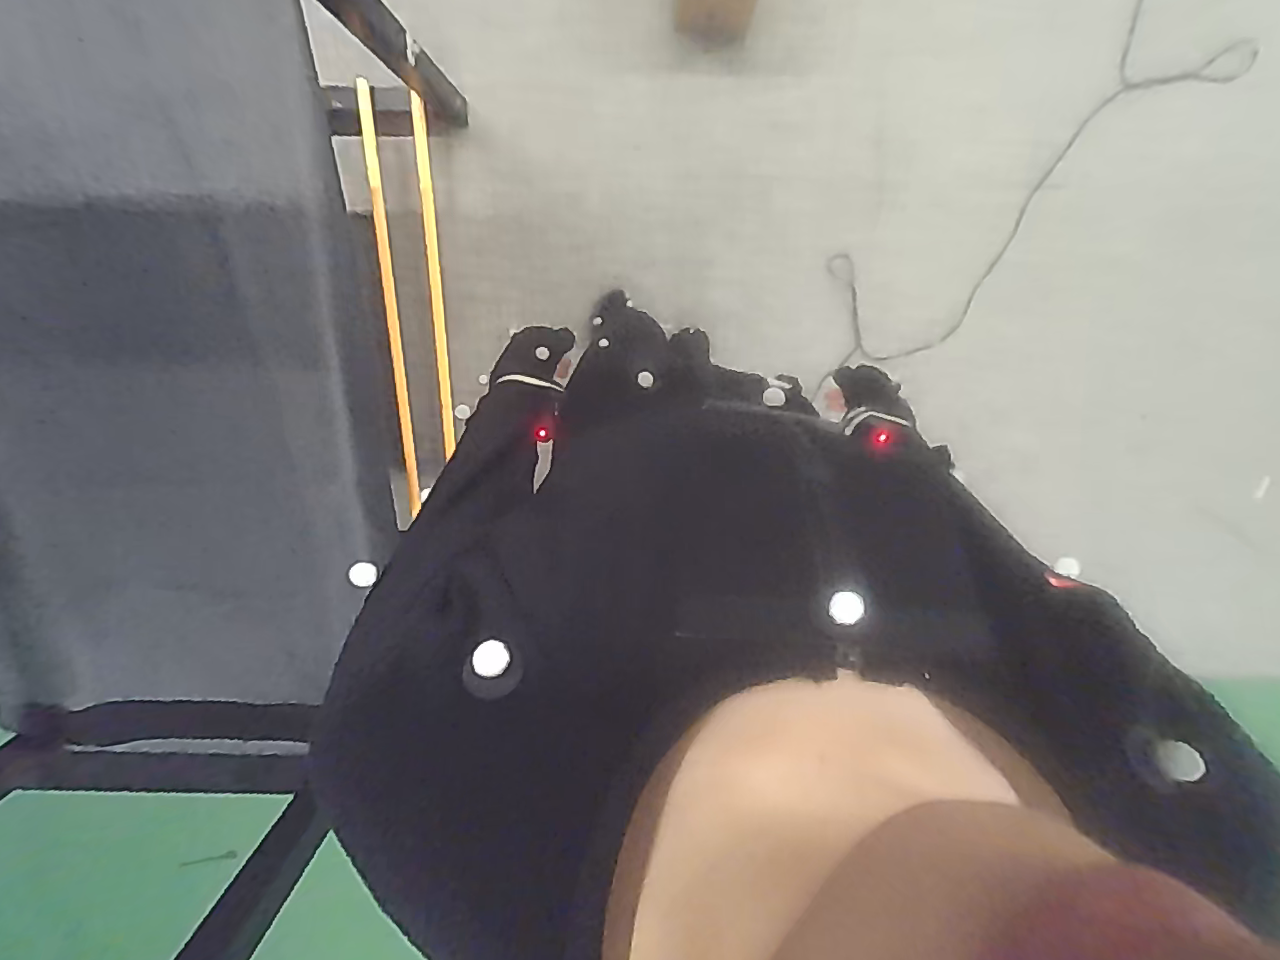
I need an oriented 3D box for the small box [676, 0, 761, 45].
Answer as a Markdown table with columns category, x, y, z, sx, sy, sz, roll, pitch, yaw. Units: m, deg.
| category | x | y | z | sx | sy | sz | roll | pitch | yaw |
| --- | --- | --- | --- | --- | --- | --- | --- | --- | --- |
| small box | 0.166 | -1.042 | 1.105 | 0.168 | 0.176 | 0.179 | 7 | 107 | 0 |
